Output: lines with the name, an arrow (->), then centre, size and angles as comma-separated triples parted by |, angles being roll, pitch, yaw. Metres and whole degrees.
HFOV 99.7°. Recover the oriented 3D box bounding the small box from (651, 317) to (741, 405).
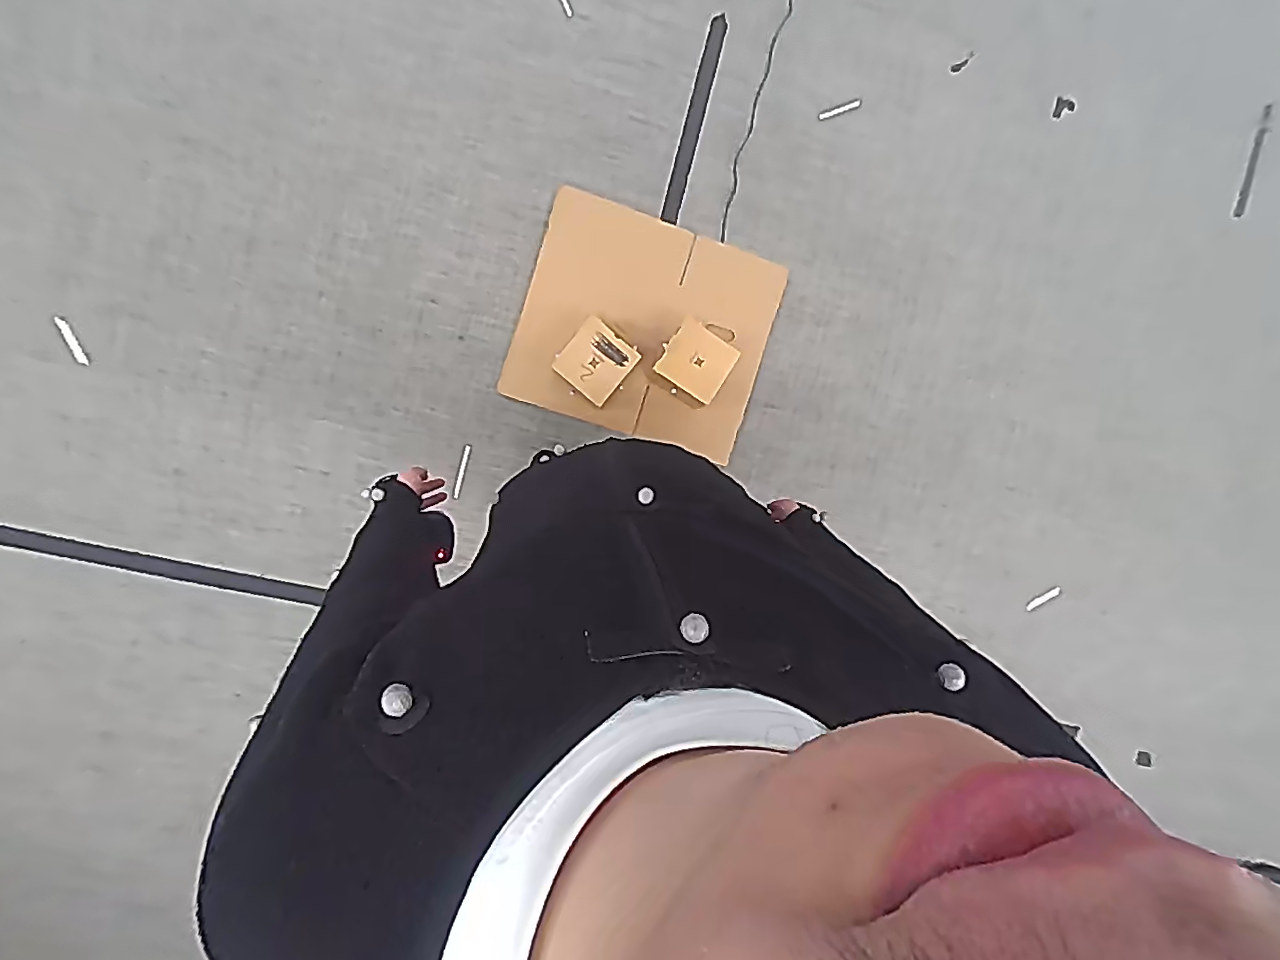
small box -> 0.148, -0.321, 1.498 | 0.179, 0.176, 0.168 | 33, 90, -5
